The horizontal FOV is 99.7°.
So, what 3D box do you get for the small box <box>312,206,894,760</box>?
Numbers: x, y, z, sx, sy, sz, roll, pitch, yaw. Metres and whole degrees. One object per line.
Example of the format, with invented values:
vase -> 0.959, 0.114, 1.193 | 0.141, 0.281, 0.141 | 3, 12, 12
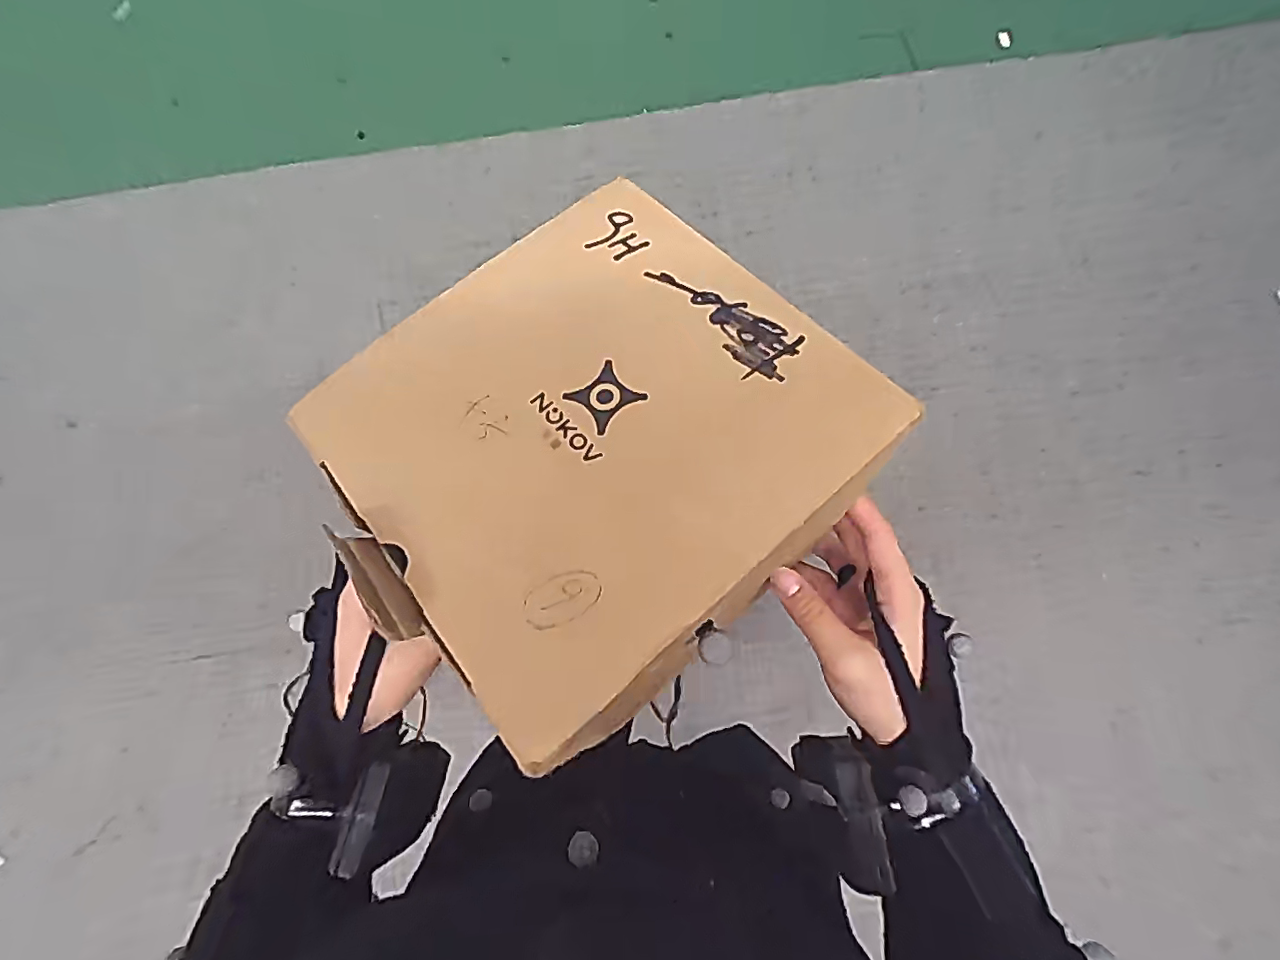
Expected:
small box -> -0.013, 0.011, 0.284 | 0.179, 0.176, 0.168 | -40, 70, -10
